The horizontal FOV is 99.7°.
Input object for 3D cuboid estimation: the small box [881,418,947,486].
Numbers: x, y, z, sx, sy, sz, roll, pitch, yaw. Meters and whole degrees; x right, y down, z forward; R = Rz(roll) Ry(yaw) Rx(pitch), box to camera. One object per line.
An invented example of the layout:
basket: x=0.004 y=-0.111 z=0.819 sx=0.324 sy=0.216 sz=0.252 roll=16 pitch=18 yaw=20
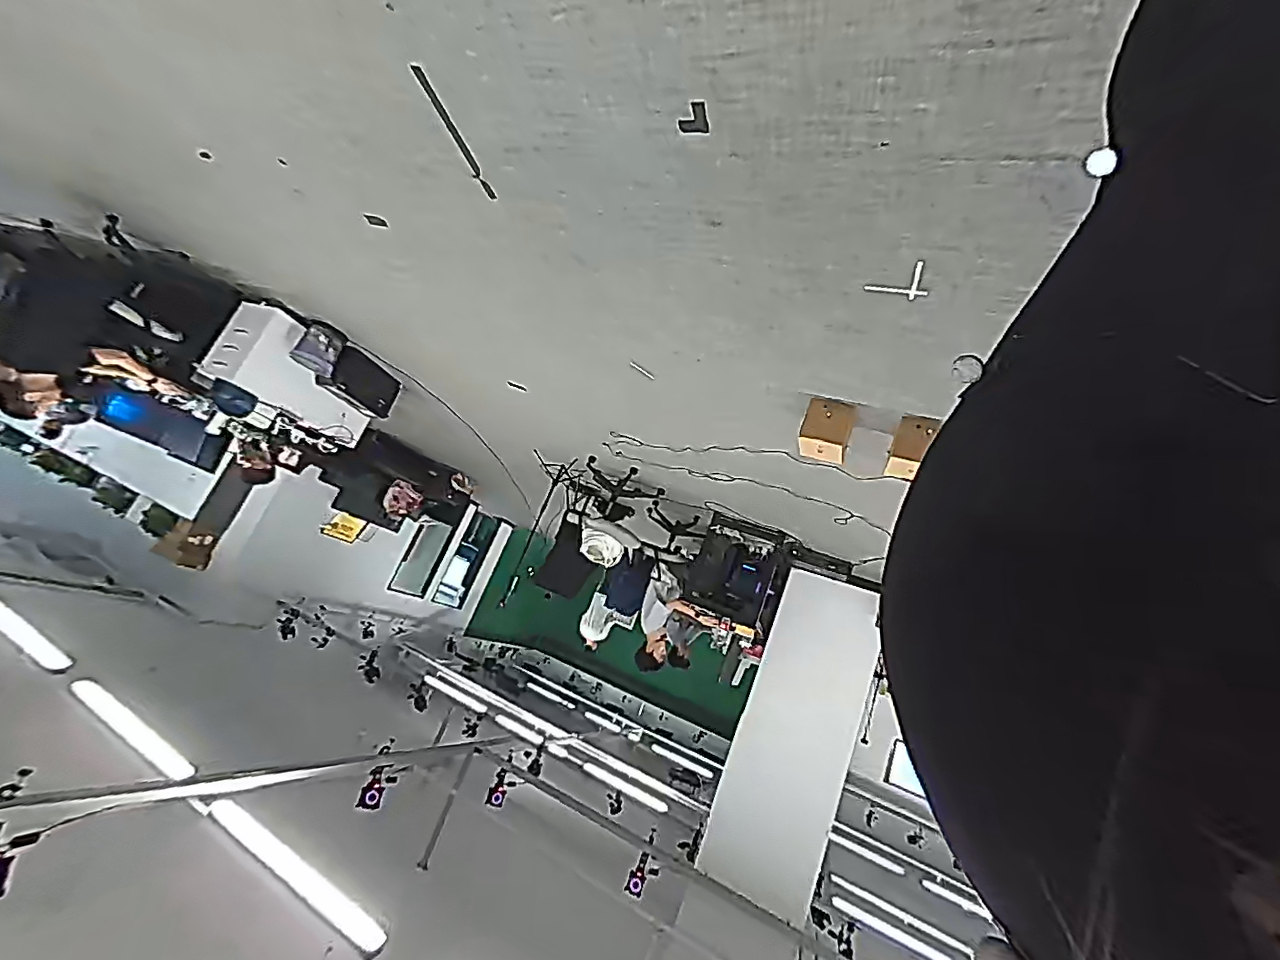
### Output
small box: x=1.003 y=-0.101 z=1.977 sx=0.168 sy=0.176 sz=0.179 roll=17 pitch=164 yaw=20

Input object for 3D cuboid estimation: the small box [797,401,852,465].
small box: x=0.719 y=-0.184 z=2.101 sx=0.168 sy=0.176 sz=0.179 roll=16 pitch=164 yaw=24
